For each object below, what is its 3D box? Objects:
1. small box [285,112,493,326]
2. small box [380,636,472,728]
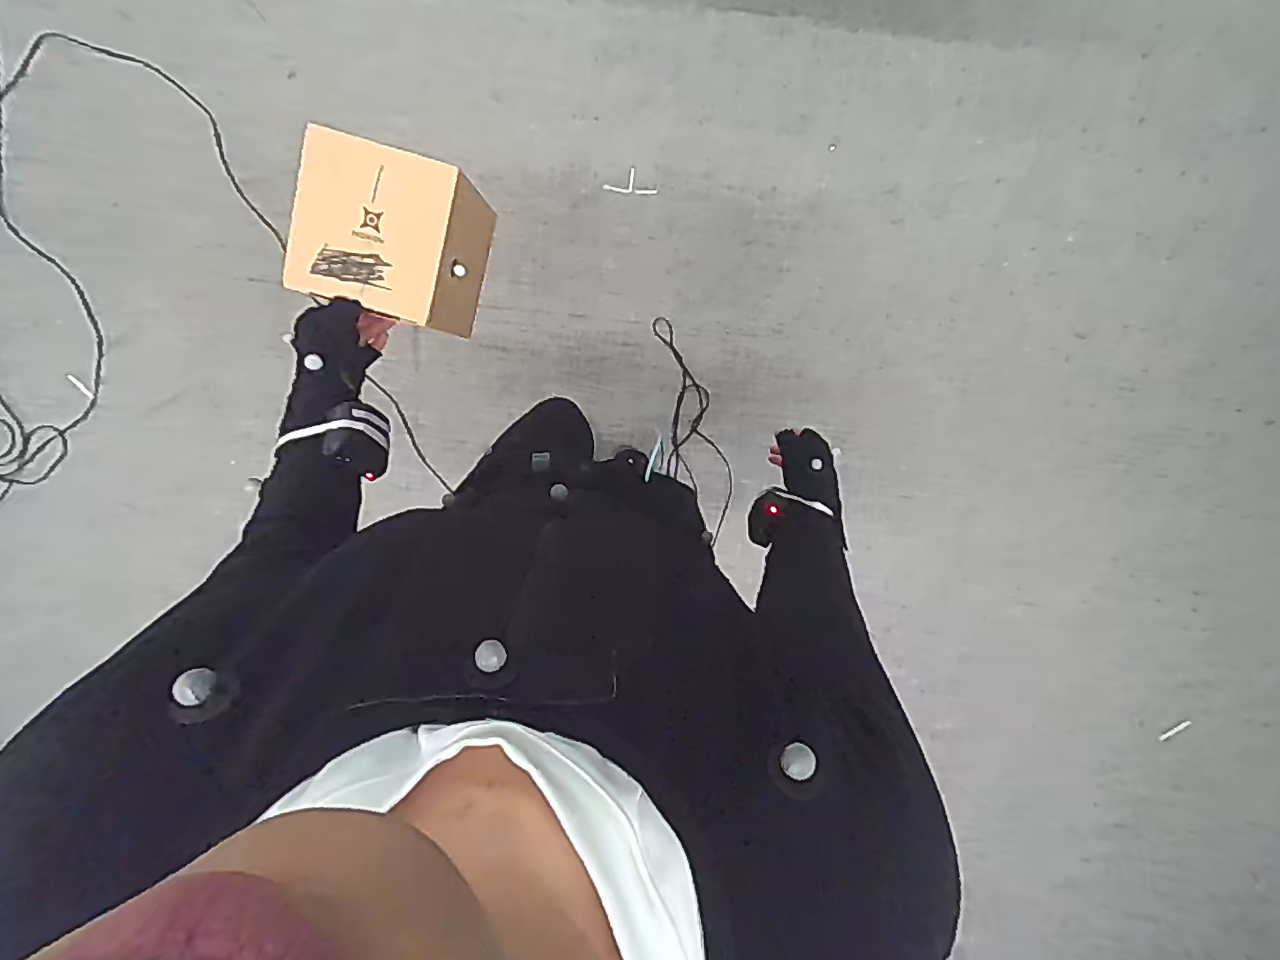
[{"bbox_3d":[-0.294,-0.301,0.668,0.168,0.176,0.179,16,100,-4],"label":"small box"},{"bbox_3d":[-0.561,0.530,1.436,0.179,0.176,0.168,8,95,-1],"label":"small box"}]
